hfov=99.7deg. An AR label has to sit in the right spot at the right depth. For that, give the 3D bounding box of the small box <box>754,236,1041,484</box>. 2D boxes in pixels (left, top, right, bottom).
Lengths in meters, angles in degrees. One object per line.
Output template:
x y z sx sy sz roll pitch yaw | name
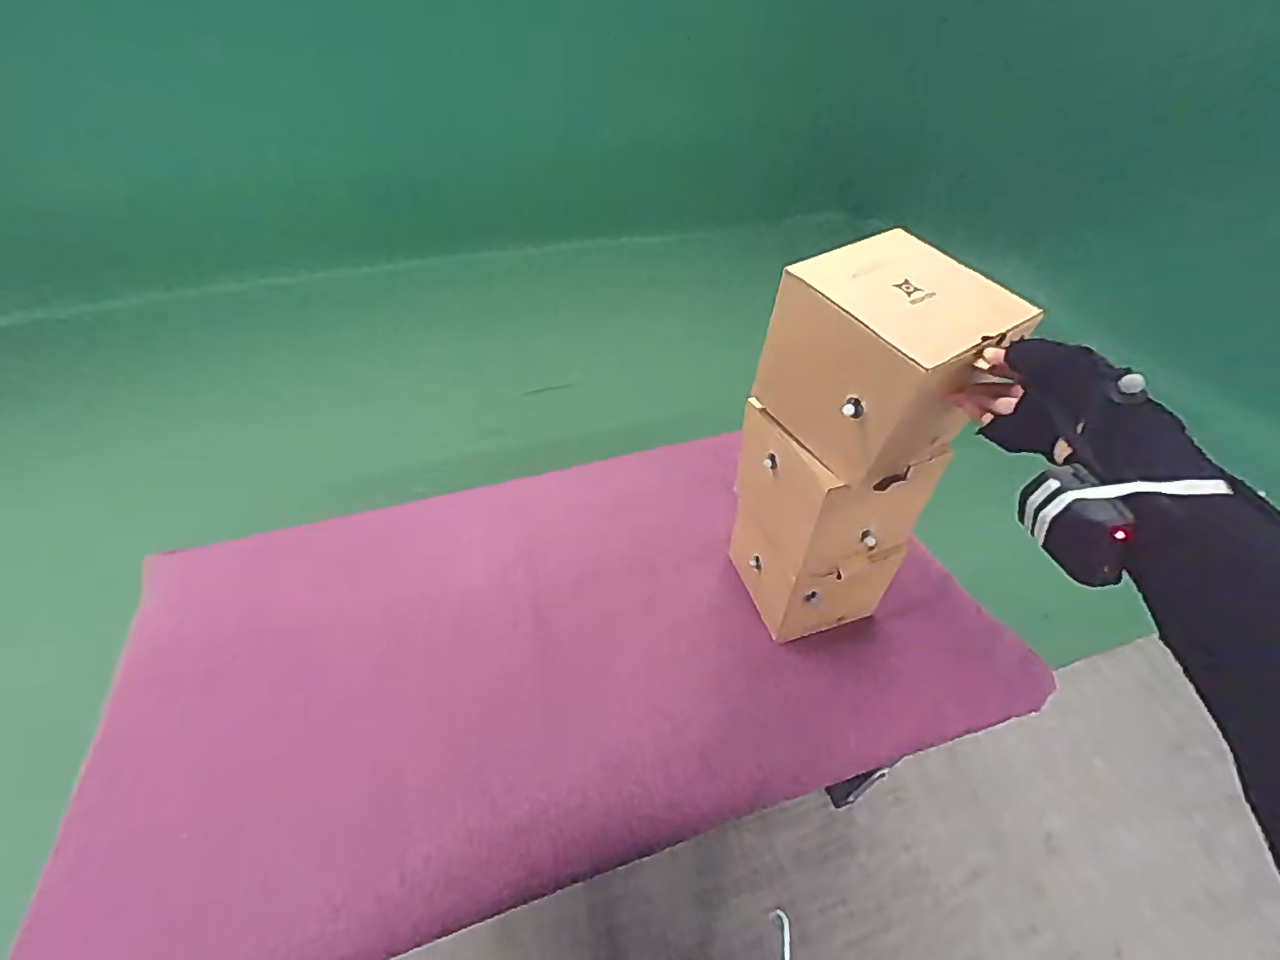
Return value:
0.247 -0.118 0.566 0.168 0.176 0.179 -25 58 -21 | small box

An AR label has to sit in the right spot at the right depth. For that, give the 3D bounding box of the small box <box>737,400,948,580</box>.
0.239 -0.004 0.695 0.168 0.176 0.179 -16 48 -14 | small box
